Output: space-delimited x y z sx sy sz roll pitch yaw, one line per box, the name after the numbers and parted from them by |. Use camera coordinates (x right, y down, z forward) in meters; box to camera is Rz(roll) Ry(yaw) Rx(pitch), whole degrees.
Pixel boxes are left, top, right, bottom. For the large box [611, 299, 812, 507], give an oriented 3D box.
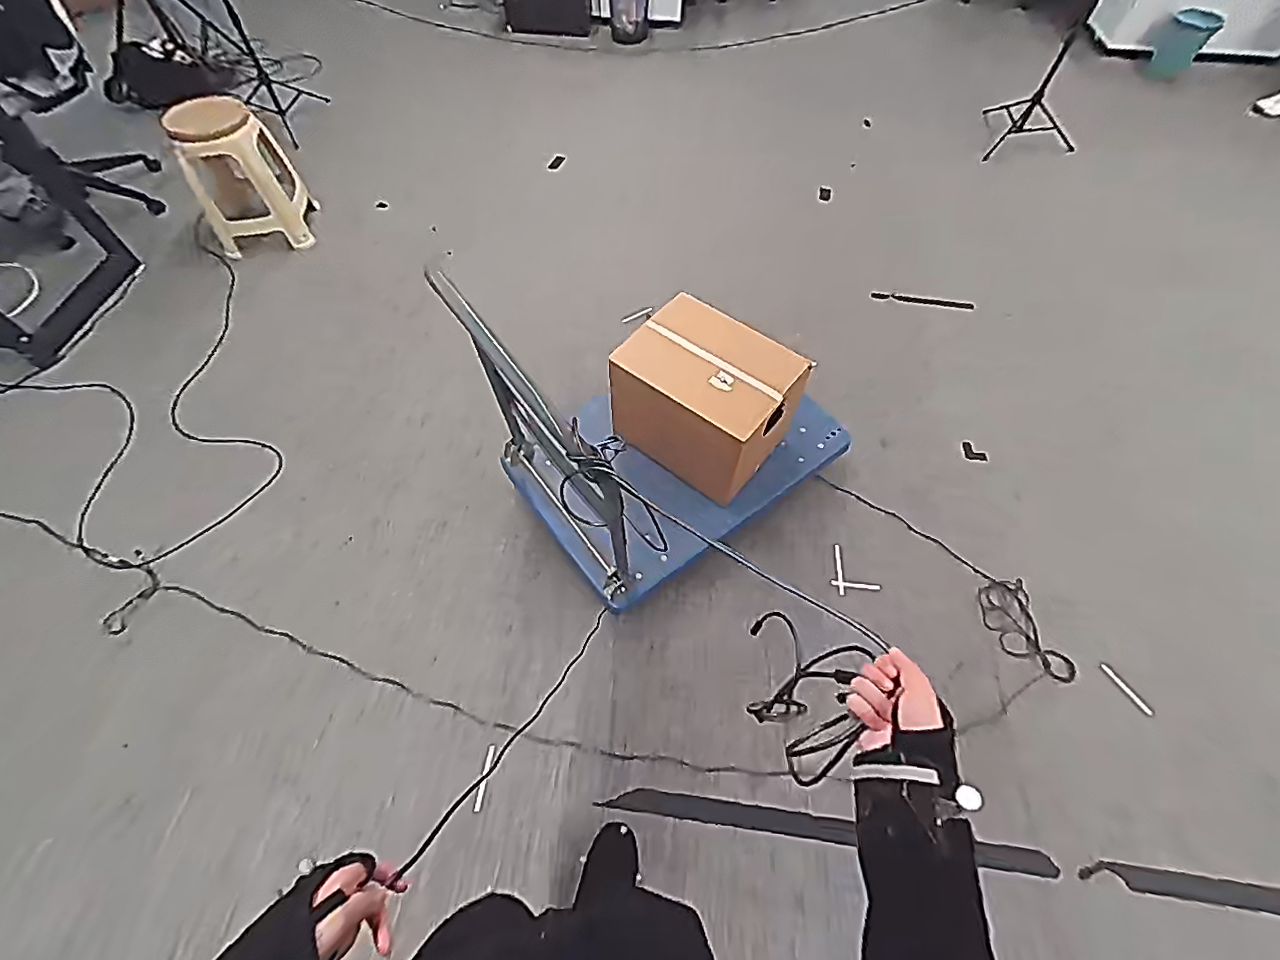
0.170 -0.203 1.447 0.408 0.320 0.320 35 65 18 | large box
